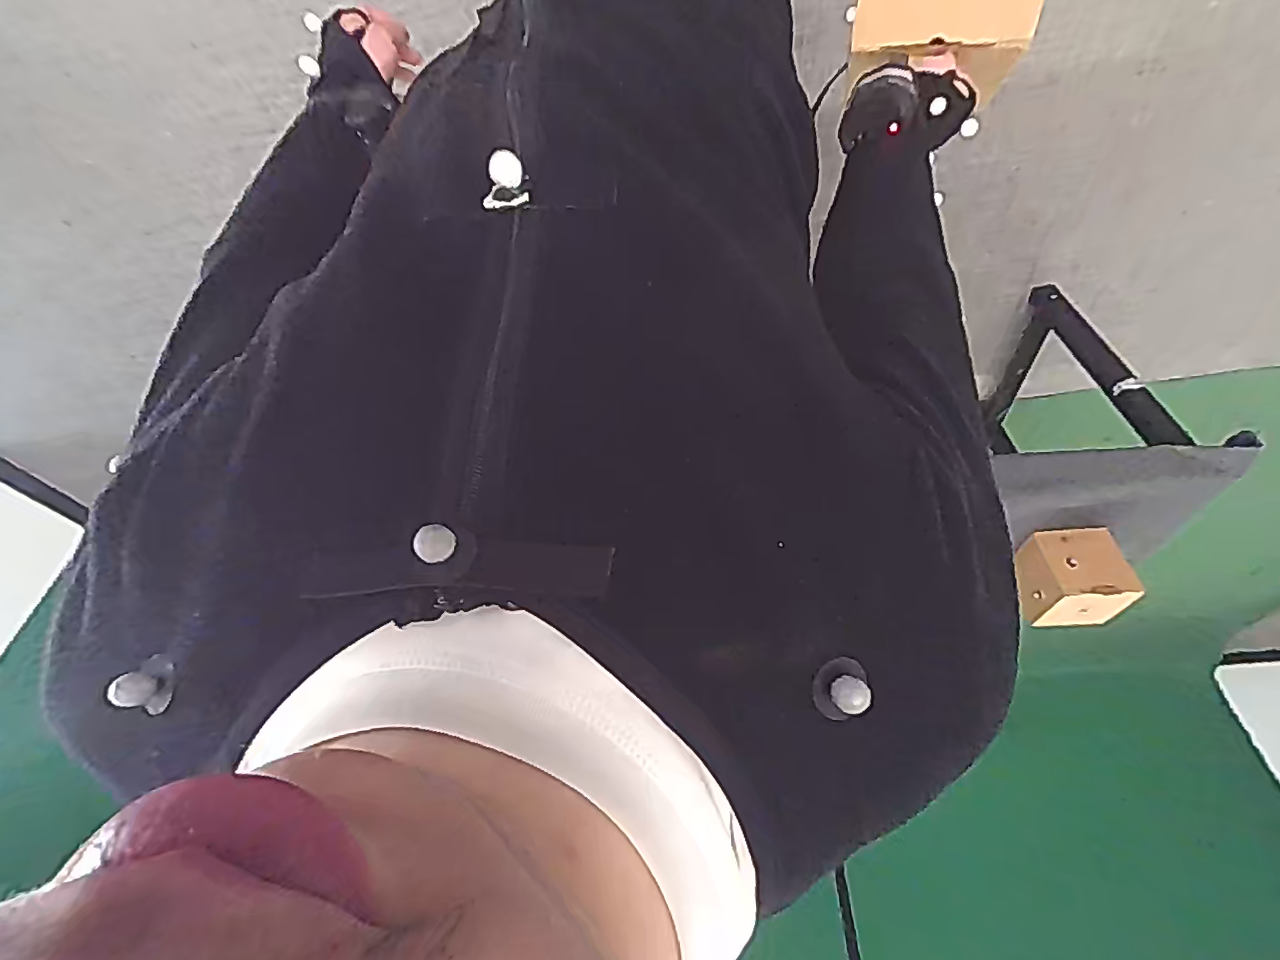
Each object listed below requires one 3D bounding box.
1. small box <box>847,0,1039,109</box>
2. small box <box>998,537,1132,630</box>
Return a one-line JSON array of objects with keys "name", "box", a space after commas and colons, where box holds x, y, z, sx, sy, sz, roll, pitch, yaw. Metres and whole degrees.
[{"name": "small box", "box": [0.327, -0.526, 0.581, 0.168, 0.176, 0.179, 12, 108, 15]}, {"name": "small box", "box": [1.001, 0.245, 1.298, 0.168, 0.176, 0.179, -3, 142, 5]}]
